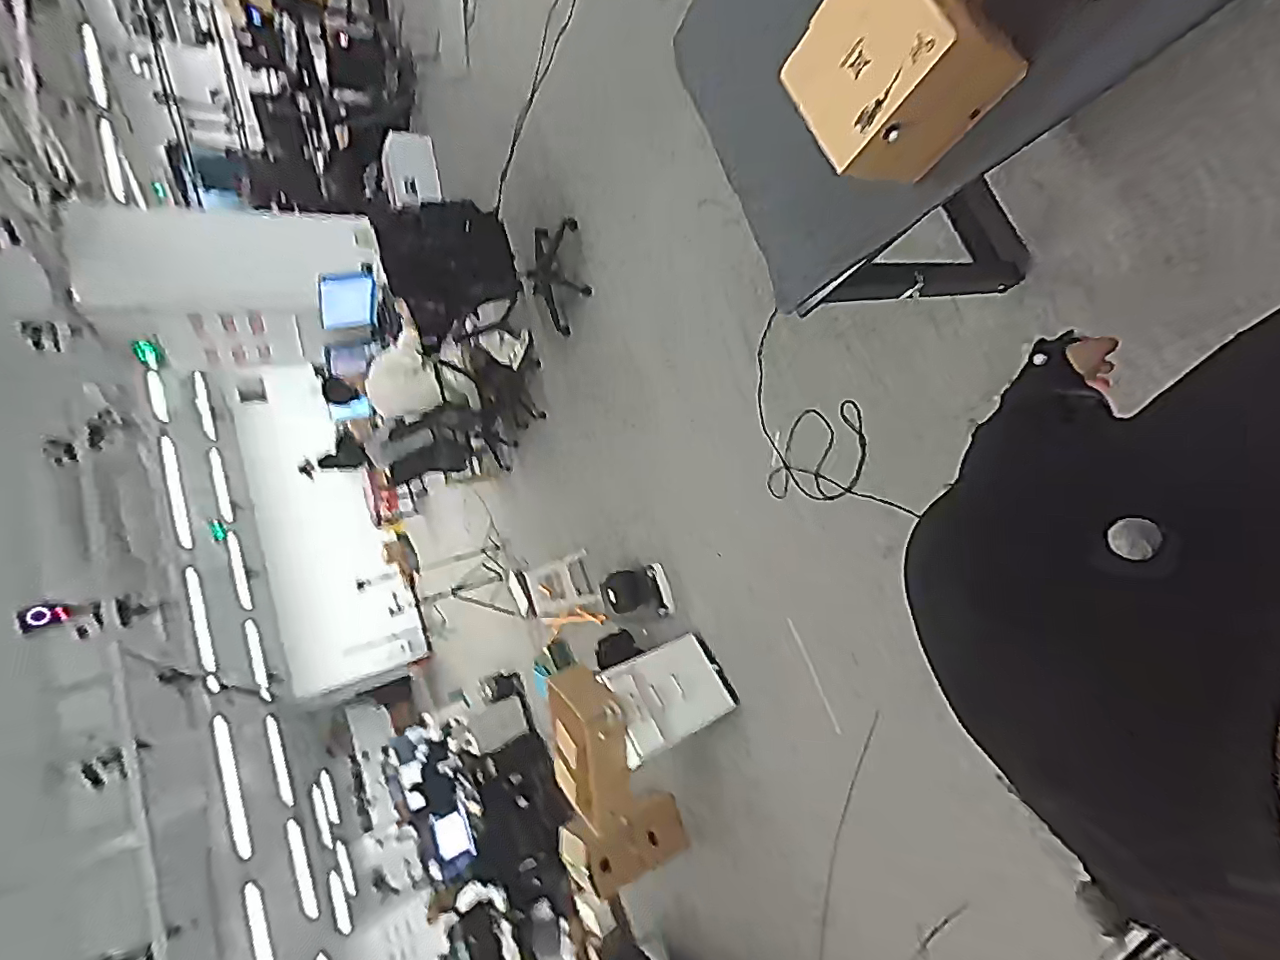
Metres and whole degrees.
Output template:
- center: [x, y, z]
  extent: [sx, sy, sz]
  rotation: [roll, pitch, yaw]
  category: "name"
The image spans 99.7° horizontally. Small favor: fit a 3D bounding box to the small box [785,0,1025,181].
- center: [0.322, -0.501, 0.671]
  extent: [0.168, 0.176, 0.179]
  rotation: [-42, 65, 57]
  category: "small box"
